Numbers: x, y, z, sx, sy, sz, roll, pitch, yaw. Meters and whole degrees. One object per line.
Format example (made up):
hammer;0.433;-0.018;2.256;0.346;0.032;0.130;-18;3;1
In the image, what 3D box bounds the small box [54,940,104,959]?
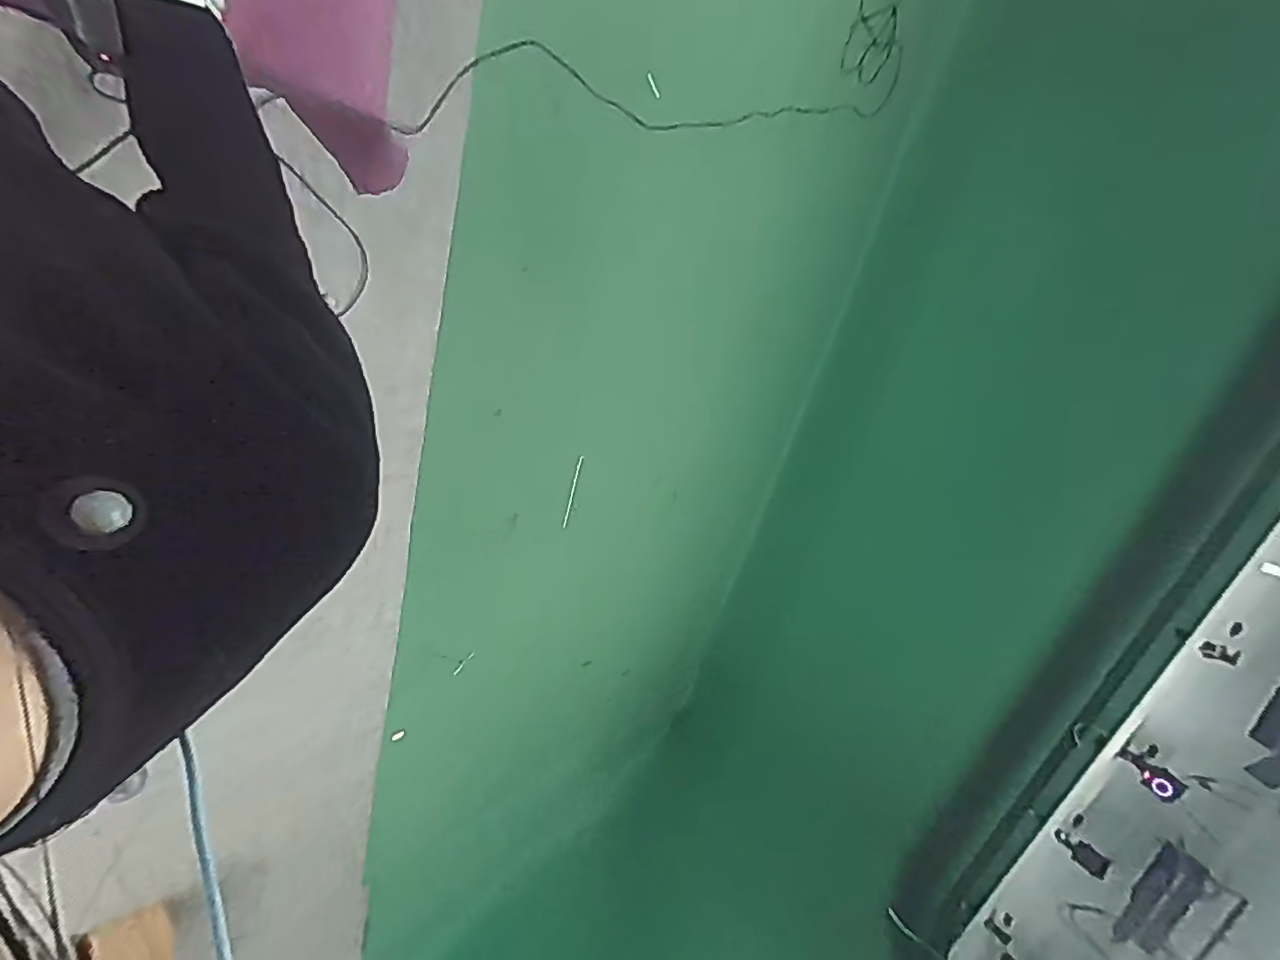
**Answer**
small box;-1.633;1.481;1.536;0.168;0.176;0.179;-11;121;-51
